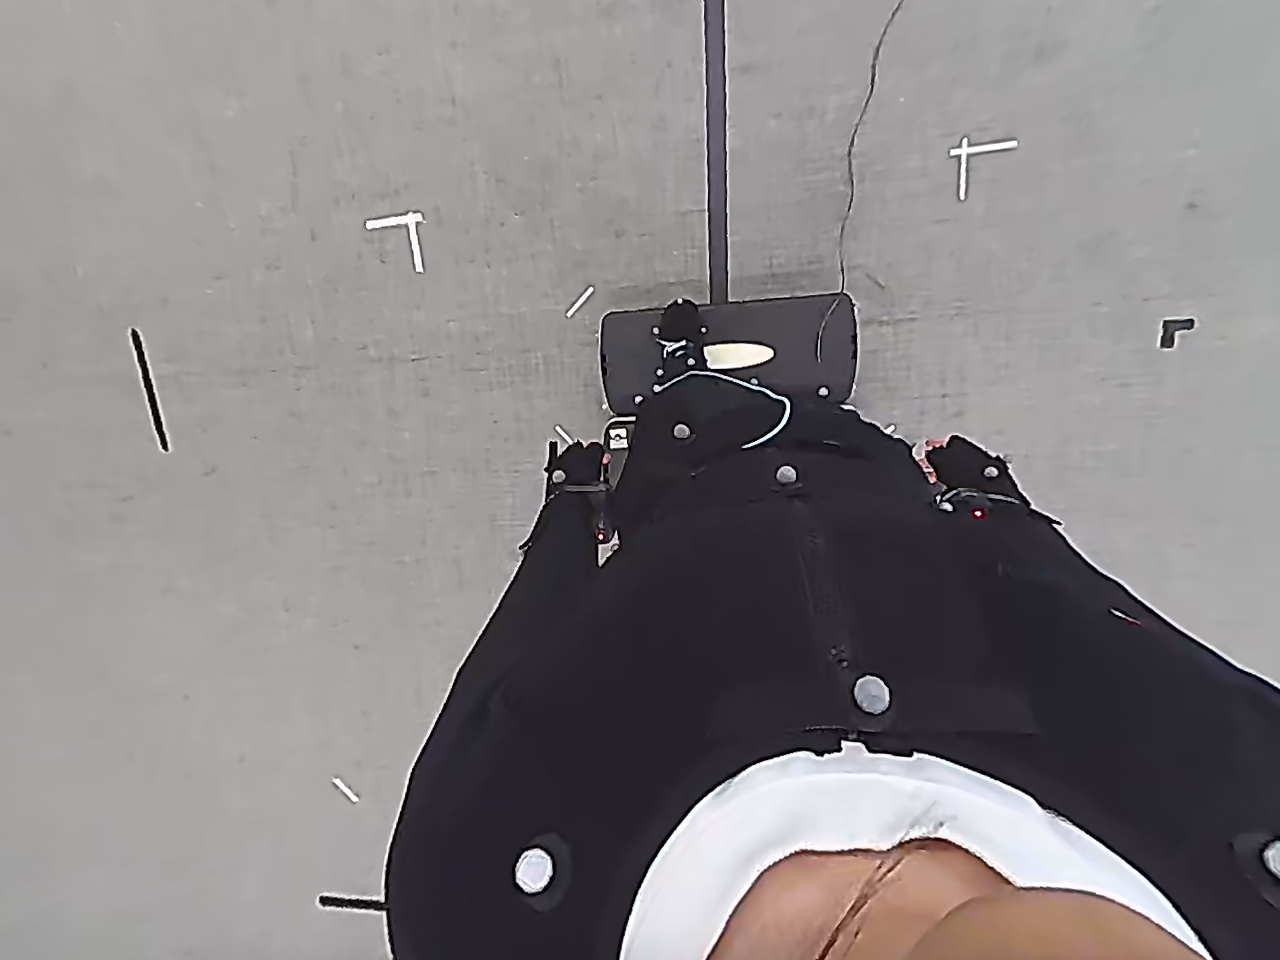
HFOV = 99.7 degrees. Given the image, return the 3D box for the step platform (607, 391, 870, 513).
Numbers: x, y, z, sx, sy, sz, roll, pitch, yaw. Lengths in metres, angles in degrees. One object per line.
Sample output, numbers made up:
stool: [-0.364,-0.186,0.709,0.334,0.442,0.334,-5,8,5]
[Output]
step platform: [0.252,-0.073,1.461,0.684,0.204,0.286,-3,101,9]
